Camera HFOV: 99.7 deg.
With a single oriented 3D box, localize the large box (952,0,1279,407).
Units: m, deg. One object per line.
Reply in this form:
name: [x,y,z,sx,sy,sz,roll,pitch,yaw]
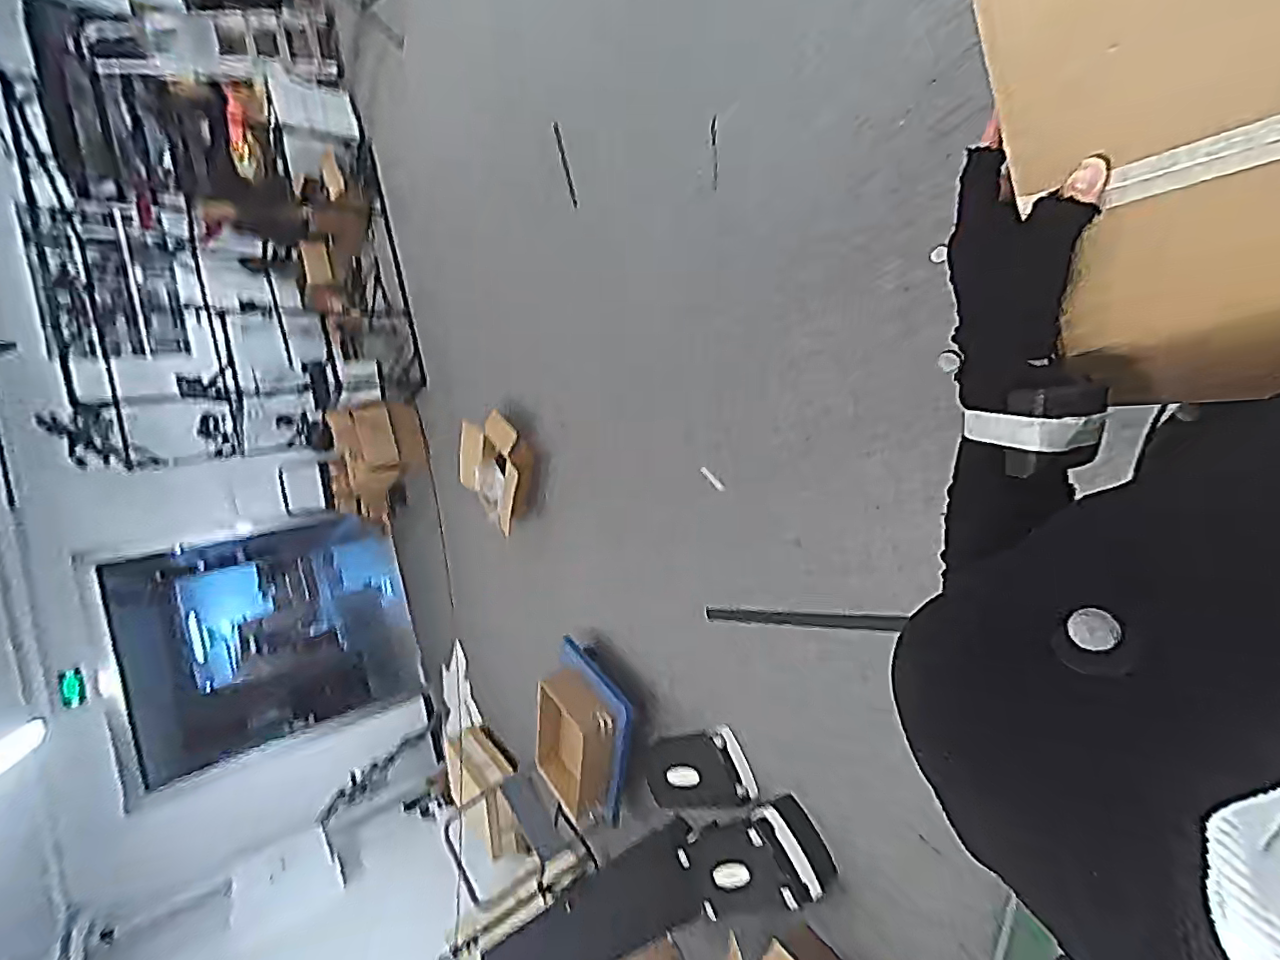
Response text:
large box: [0.445,-0.265,0.253,0.408,0.320,0.320,2,137,53]
